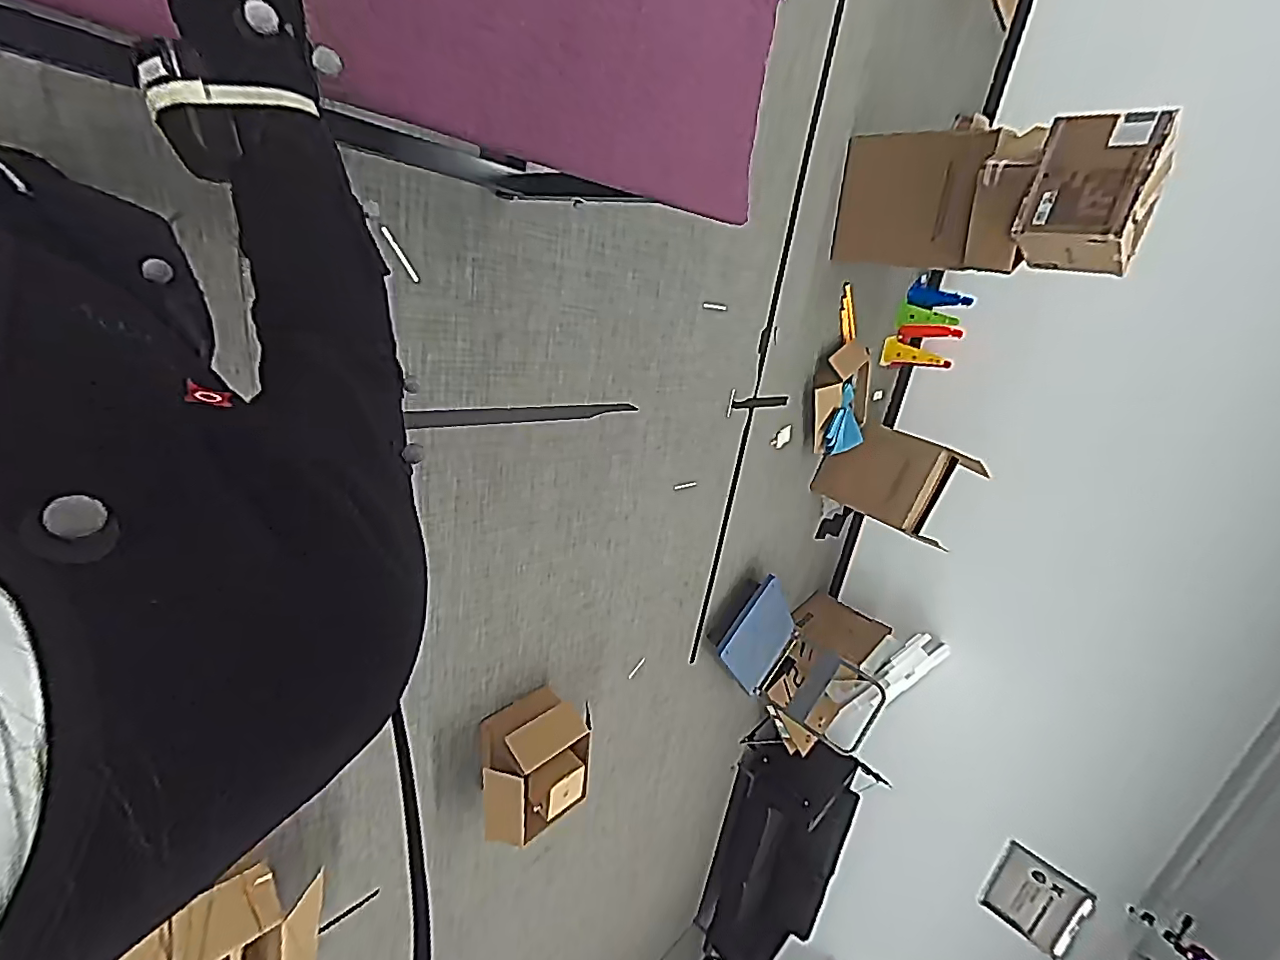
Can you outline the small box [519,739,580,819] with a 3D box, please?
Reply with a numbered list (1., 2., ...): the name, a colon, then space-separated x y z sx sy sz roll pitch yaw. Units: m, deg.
1. small box: -0.355 1.155 2.100 0.168 0.176 0.179 -15 120 -45
